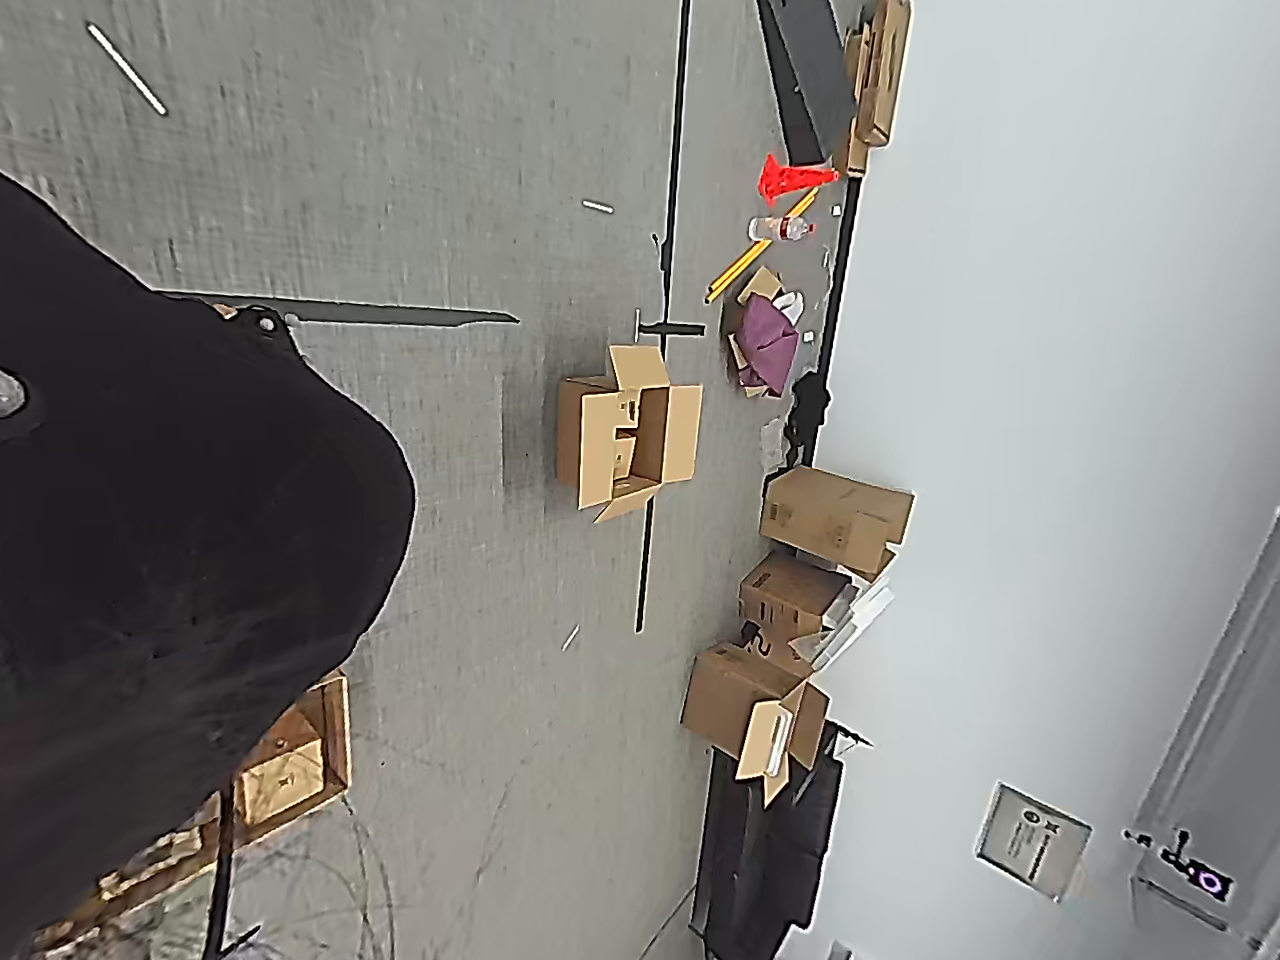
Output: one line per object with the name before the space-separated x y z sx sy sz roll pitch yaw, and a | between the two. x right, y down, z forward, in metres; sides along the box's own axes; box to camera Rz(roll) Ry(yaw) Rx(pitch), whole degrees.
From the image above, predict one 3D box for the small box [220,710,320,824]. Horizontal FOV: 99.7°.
small box | -0.975 0.744 1.428 0.179 0.176 0.168 -11 111 -49
